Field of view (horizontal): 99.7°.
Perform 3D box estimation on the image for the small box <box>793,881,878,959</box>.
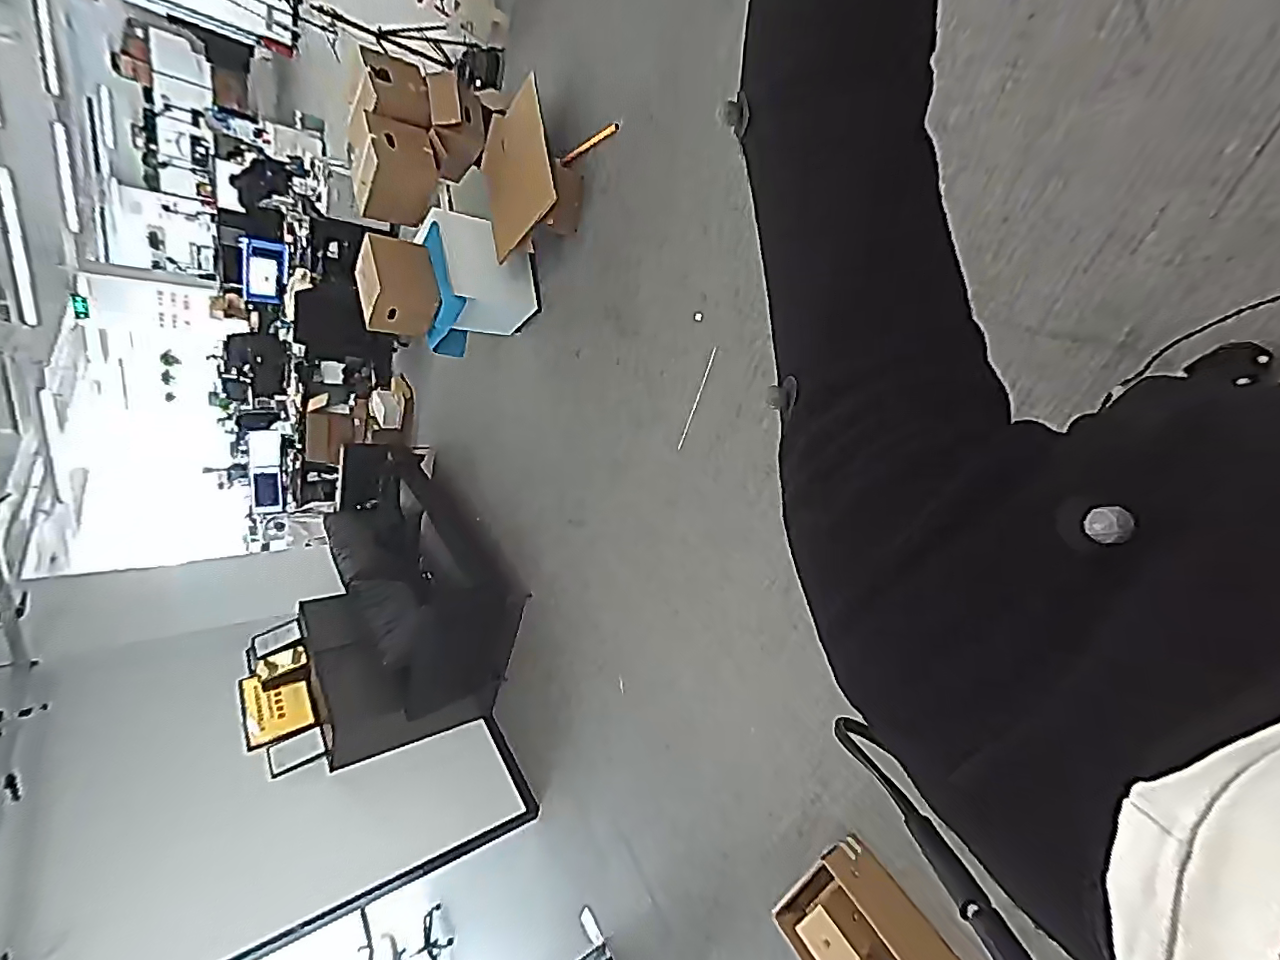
[{"bbox_3d":[0.643,1.463,1.761,0.168,0.176,0.179,46,125,38],"label":"small box"}]
